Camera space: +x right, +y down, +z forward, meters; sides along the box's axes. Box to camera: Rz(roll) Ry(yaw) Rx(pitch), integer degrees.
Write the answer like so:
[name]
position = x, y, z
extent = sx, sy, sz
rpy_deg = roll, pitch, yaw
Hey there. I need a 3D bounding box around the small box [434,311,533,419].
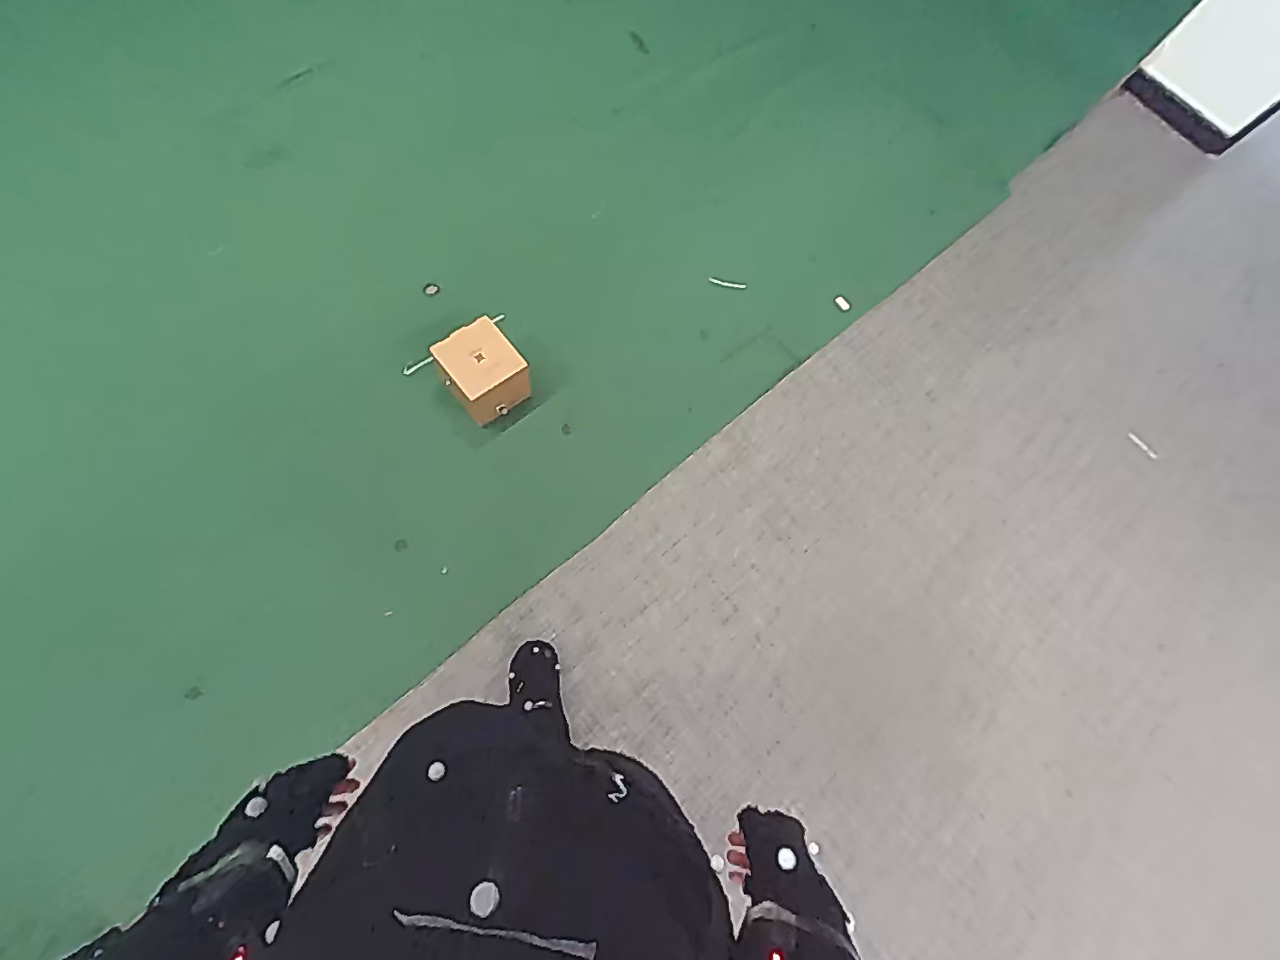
[small box]
position = -0.391, -0.286, 1.378
extent = 0.168, 0.176, 0.179
rpy_deg = -38, 82, -16
